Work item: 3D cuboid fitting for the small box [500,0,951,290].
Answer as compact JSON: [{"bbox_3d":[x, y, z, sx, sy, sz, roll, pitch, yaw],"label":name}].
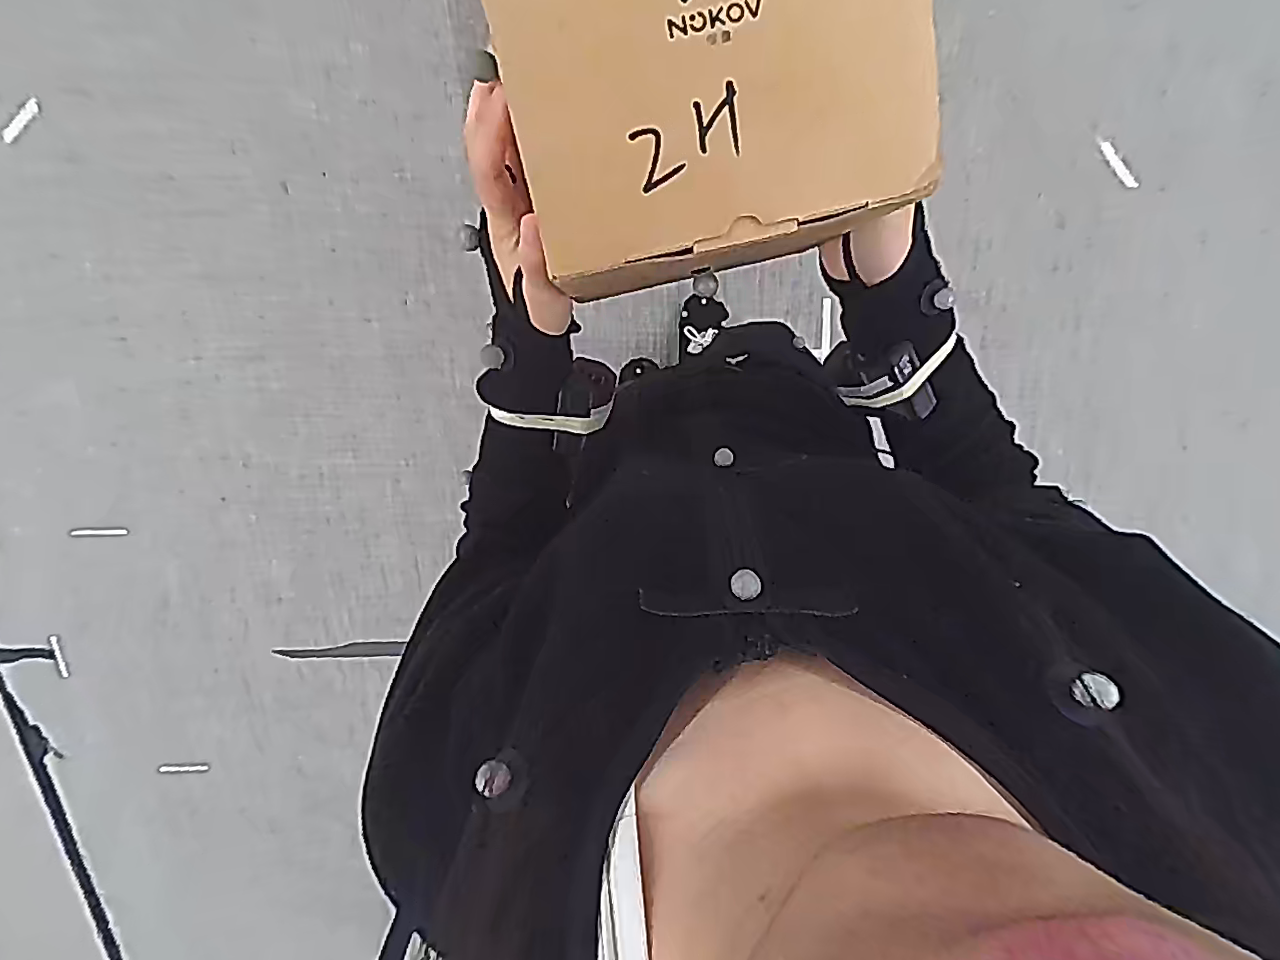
[{"bbox_3d":[0.024,-0.207,0.274,0.168,0.176,0.179,-13,106,1],"label":"small box"}]
